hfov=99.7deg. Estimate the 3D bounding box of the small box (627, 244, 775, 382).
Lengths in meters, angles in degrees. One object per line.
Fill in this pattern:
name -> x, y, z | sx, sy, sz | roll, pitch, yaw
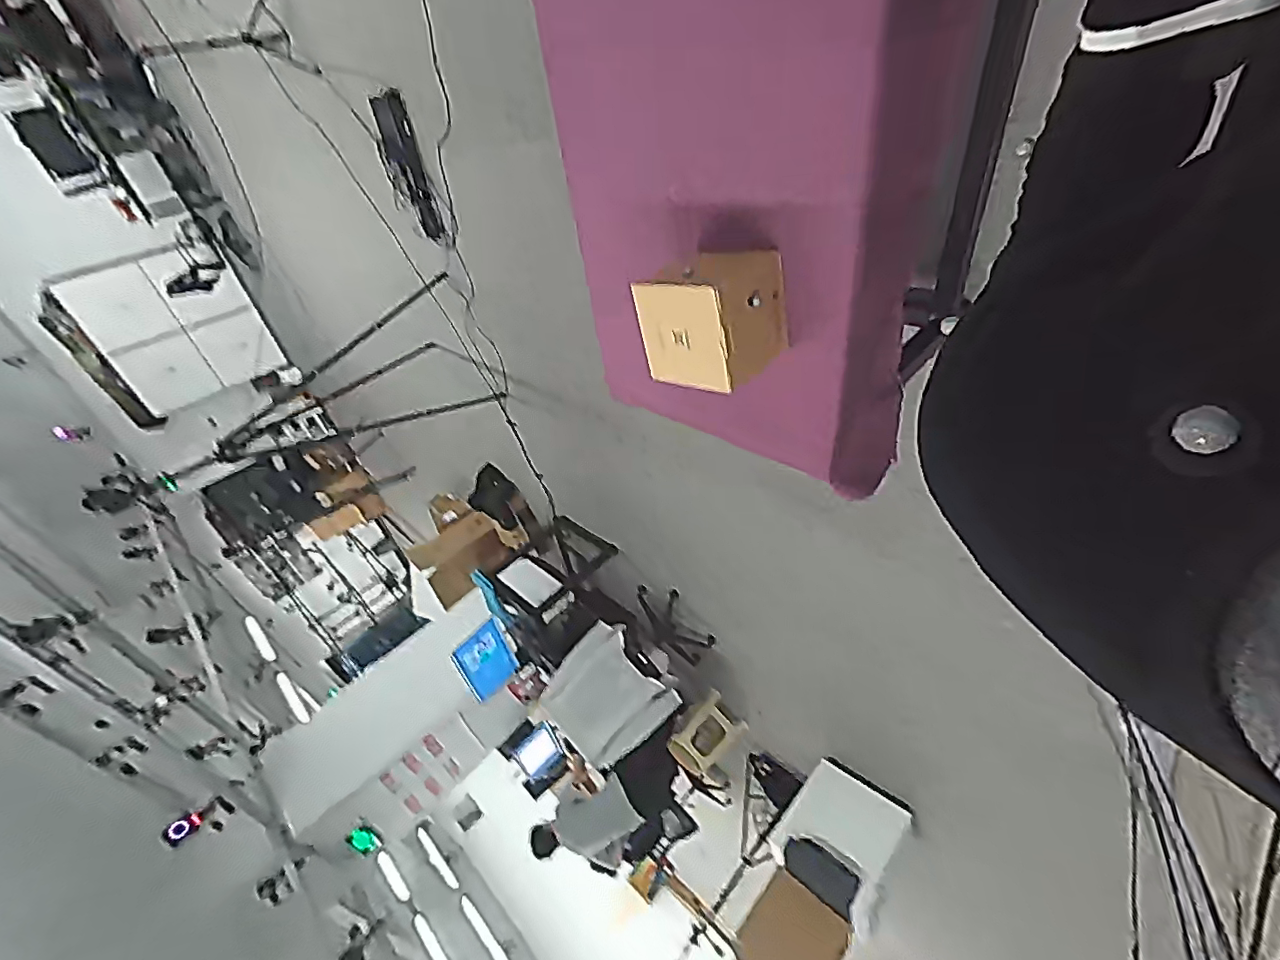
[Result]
small box -> 0.110, -0.283, 0.895 | 0.179, 0.176, 0.168 | 22, 138, 42
